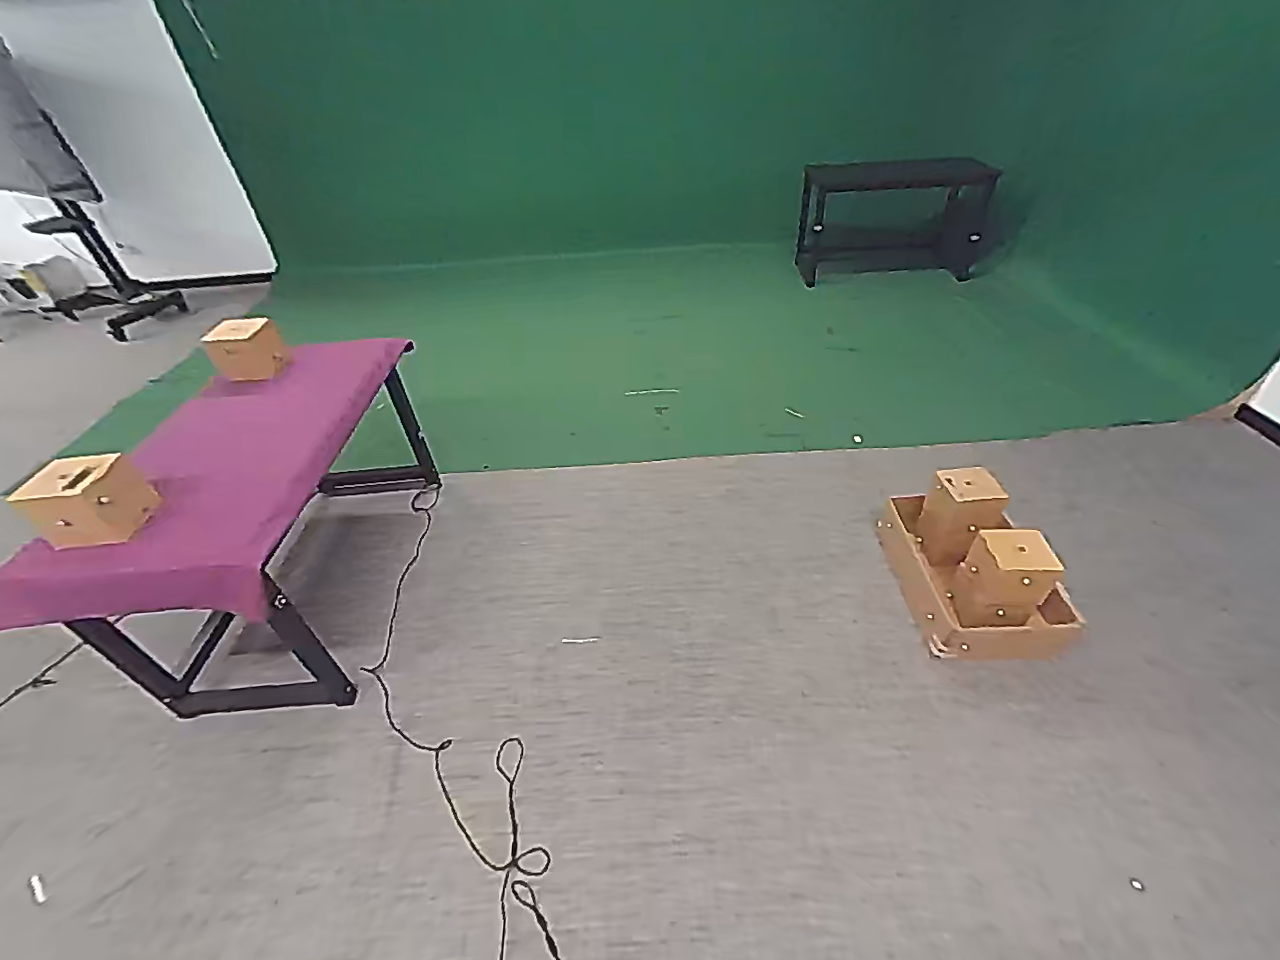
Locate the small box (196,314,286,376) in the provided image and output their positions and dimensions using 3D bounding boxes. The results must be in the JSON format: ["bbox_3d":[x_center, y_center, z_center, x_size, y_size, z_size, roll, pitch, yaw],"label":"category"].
[{"bbox_3d":[-1.468,-0.498,2.001,0.179,0.176,0.168,-2,43,1],"label":"small box"}]

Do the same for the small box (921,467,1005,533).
[{"bbox_3d":[1.132,0.072,1.909,0.179,0.176,0.168,-4,40,0],"label":"small box"}]

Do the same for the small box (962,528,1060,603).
[{"bbox_3d":[1.143,0.268,1.682,0.179,0.176,0.168,-1,41,6],"label":"small box"}]
